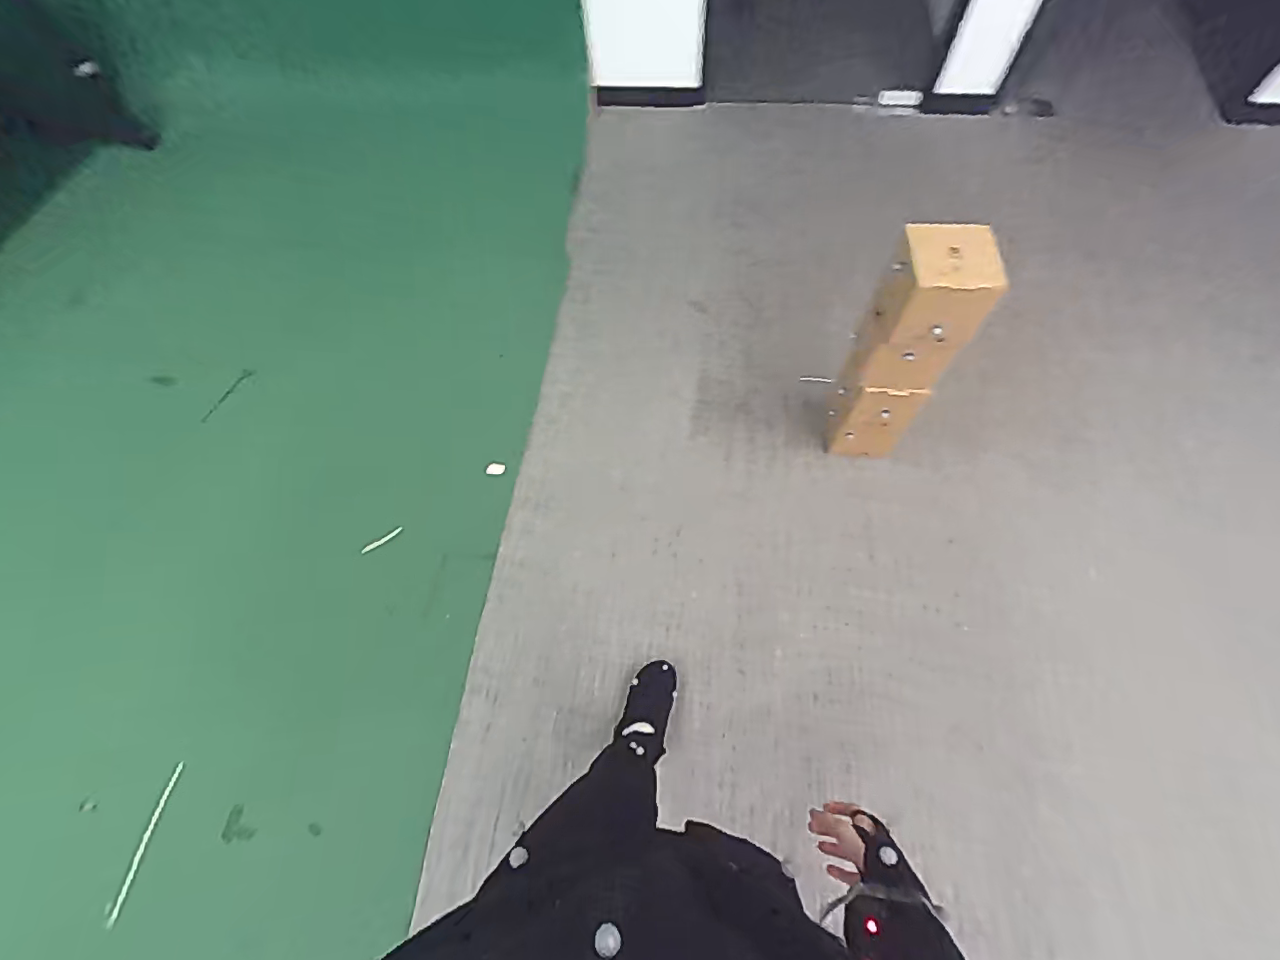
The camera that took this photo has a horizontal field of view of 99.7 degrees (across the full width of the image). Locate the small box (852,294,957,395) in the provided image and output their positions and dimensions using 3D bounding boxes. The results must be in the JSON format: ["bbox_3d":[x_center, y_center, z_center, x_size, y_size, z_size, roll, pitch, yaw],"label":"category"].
[{"bbox_3d":[0.612,-0.315,1.274,0.179,0.176,0.168,4,63,4],"label":"small box"}]

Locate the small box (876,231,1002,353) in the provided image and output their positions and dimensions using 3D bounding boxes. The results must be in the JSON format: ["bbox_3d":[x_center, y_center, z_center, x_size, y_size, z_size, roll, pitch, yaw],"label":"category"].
[{"bbox_3d":[0.608,-0.389,1.127,0.168,0.176,0.179,2,63,5],"label":"small box"}]

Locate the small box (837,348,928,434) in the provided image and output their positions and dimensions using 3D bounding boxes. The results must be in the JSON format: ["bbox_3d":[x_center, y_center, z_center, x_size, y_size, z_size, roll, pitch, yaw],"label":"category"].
[{"bbox_3d":[0.627,-0.235,1.417,0.168,0.176,0.179,3,64,4],"label":"small box"}]
